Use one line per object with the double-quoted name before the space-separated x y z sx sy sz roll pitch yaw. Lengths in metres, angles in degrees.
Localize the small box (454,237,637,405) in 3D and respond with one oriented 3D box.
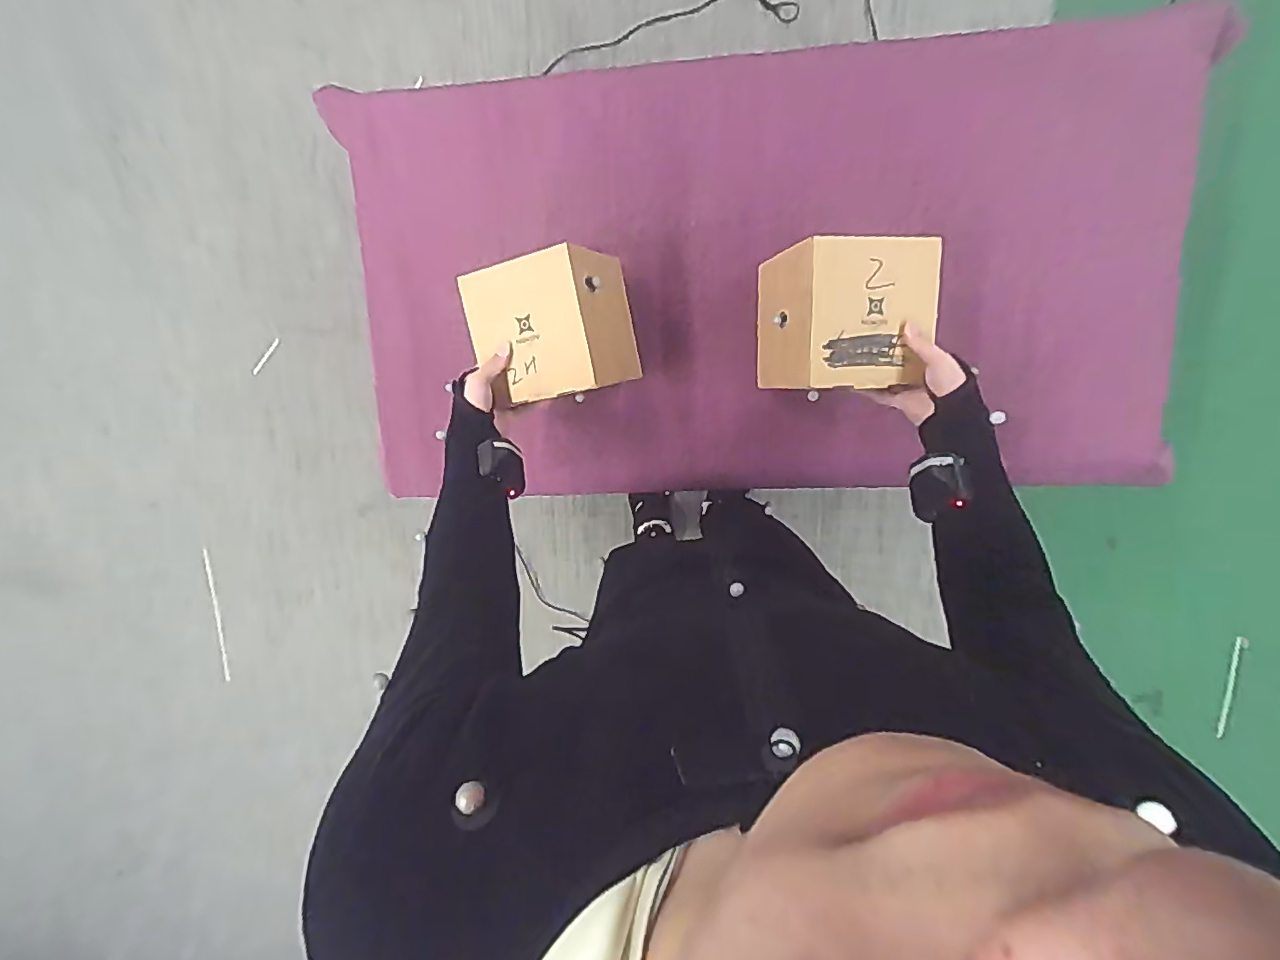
"small box" -0.118 -0.209 0.741 0.168 0.176 0.179 -7 103 23
